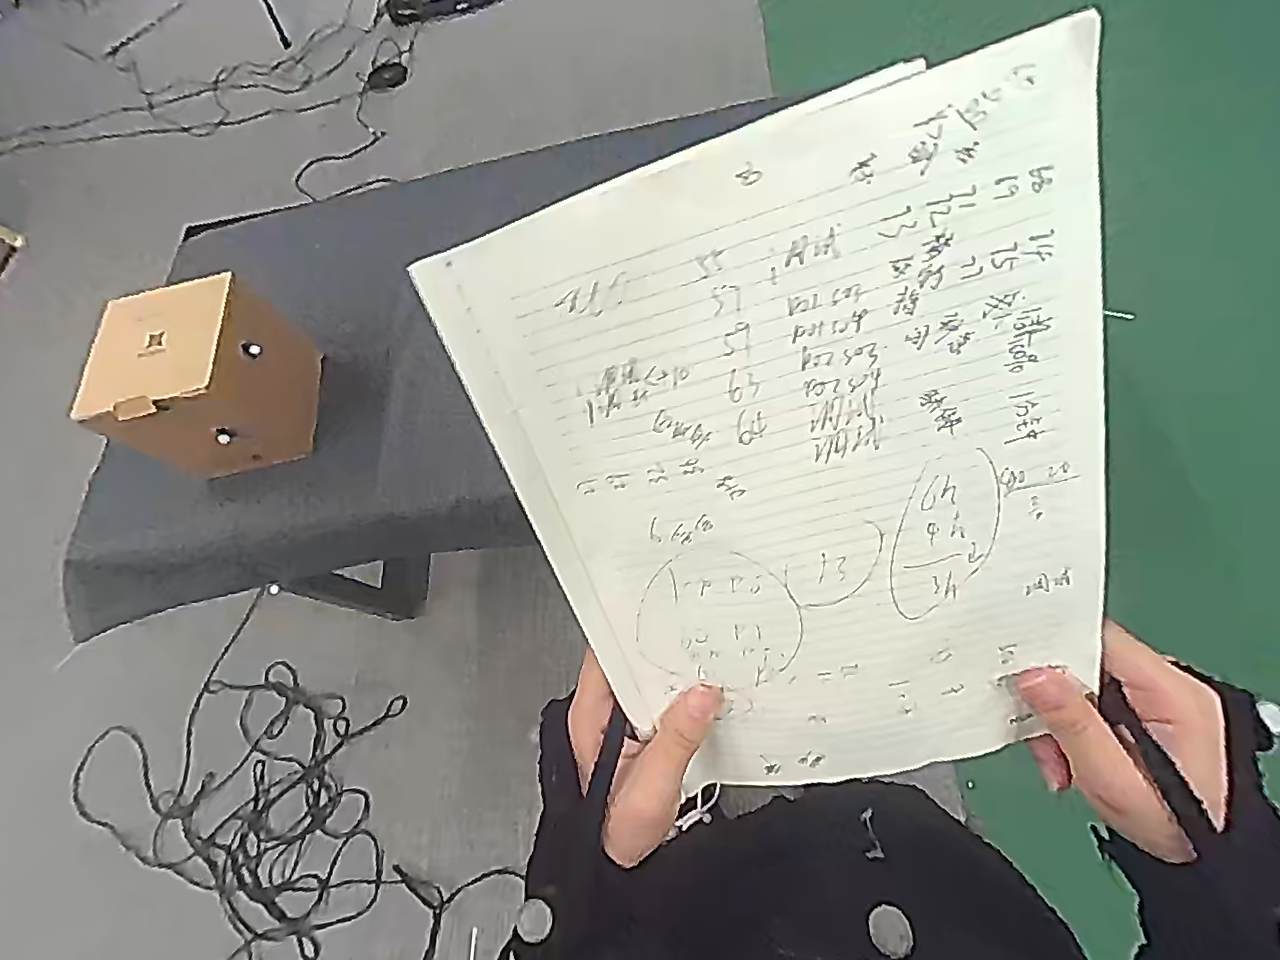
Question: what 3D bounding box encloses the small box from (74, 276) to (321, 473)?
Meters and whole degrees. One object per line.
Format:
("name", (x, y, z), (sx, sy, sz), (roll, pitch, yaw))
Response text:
("small box", (-0.543, -0.122, 0.695), (0.168, 0.176, 0.179), (-12, 64, 3))
